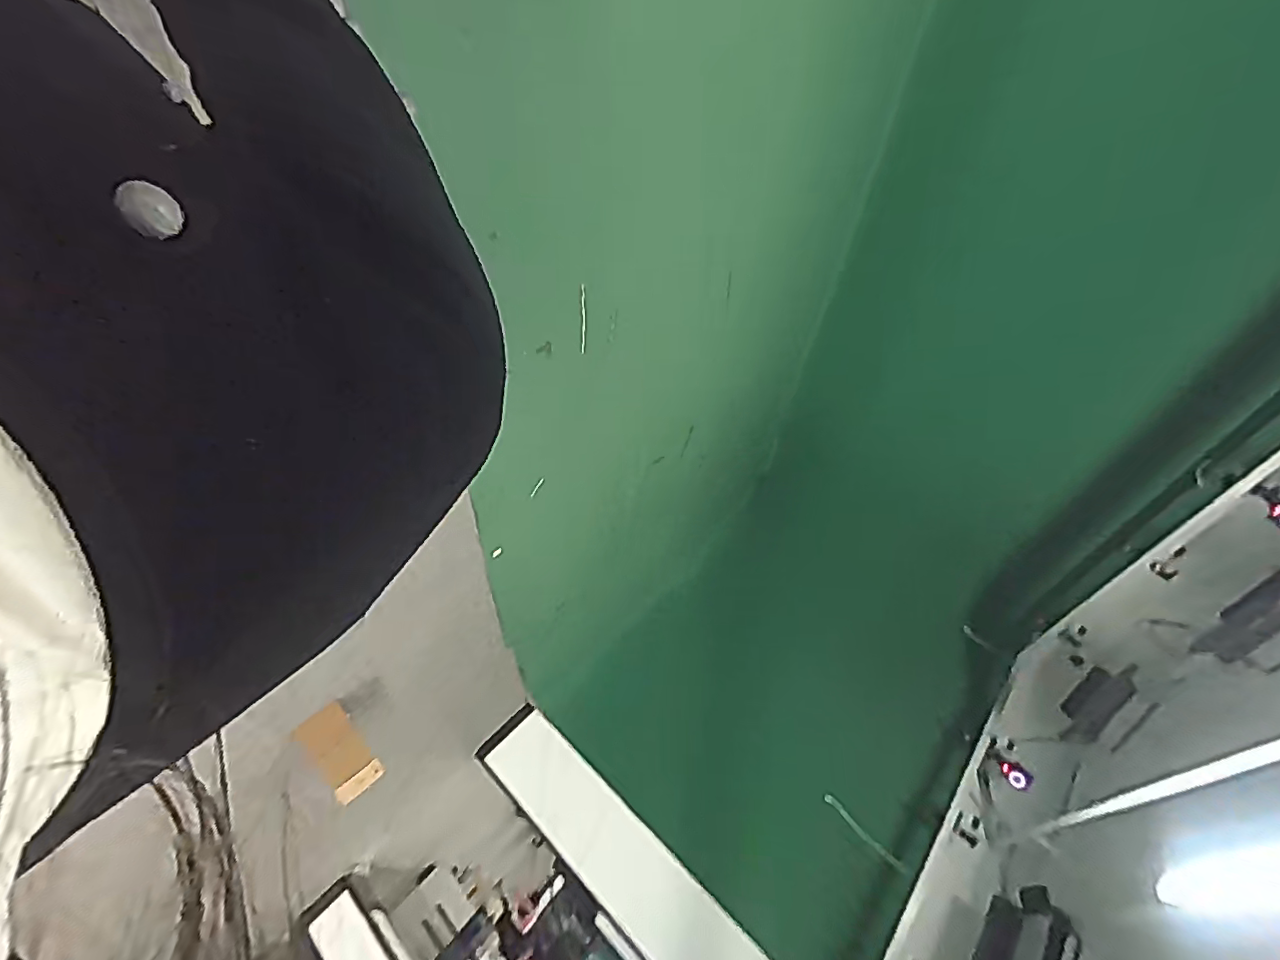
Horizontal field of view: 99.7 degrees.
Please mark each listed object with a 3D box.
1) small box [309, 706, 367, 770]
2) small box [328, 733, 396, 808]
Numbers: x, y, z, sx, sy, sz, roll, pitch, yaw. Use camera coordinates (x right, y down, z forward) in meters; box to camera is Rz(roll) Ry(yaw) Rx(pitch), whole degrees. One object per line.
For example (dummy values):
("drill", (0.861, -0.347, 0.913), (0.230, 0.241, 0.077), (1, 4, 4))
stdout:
("small box", (-1.248, 1.092, 2.256), (0.179, 0.176, 0.168), (-36, 148, -37))
("small box", (-1.127, 1.172, 2.185), (0.179, 0.176, 0.168), (-37, 147, -35))
